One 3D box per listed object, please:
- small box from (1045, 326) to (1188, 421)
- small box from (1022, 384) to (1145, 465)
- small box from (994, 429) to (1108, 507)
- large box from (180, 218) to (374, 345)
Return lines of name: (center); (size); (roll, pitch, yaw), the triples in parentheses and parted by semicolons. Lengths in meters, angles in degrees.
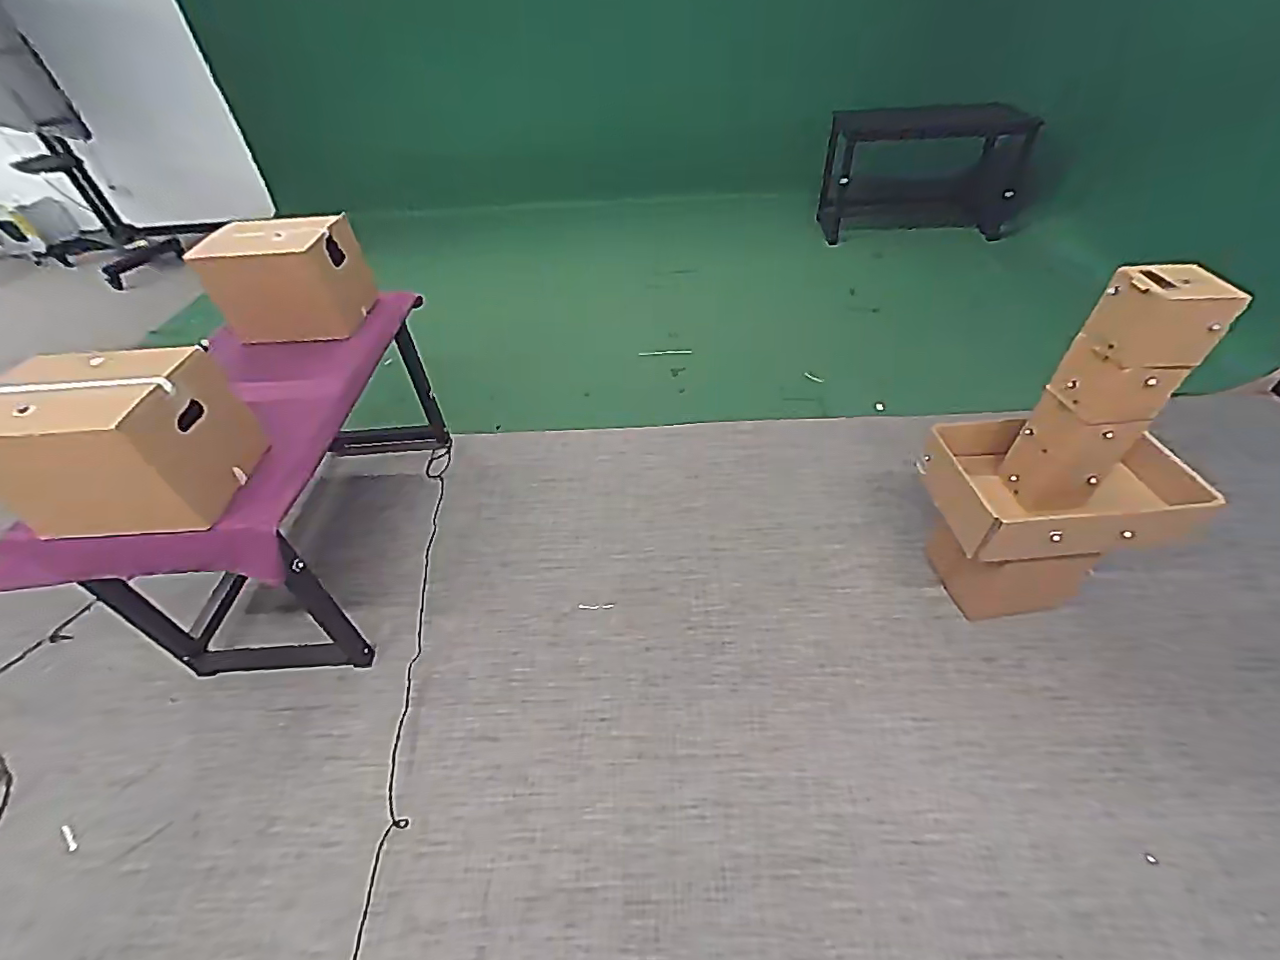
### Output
small box: (1.182, -0.267, 1.360); (0.179, 0.176, 0.168); (-6, 45, -3)
small box: (1.190, -0.154, 1.475); (0.179, 0.176, 0.168); (-4, 45, -4)
small box: (1.194, -0.036, 1.589); (0.179, 0.176, 0.168); (-3, 44, -2)
large box: (-1.218, -0.684, 1.866); (0.408, 0.320, 0.320); (-2, 46, 1)
